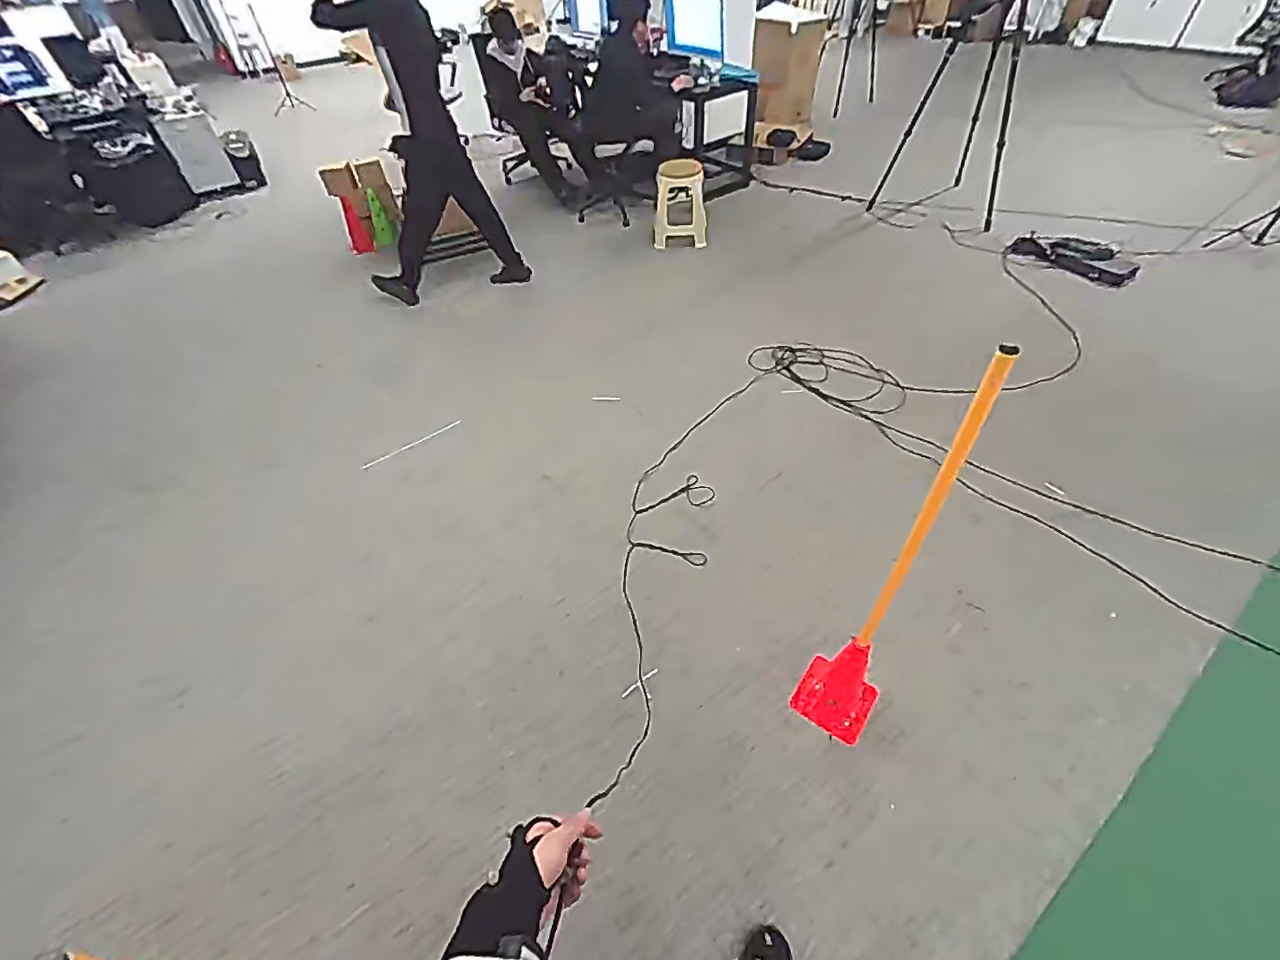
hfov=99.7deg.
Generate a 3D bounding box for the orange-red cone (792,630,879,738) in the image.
[{"bbox_3d":[0.560,0.501,1.446,0.198,0.360,0.199,29,54,27],"label":"orange-red cone"}]
